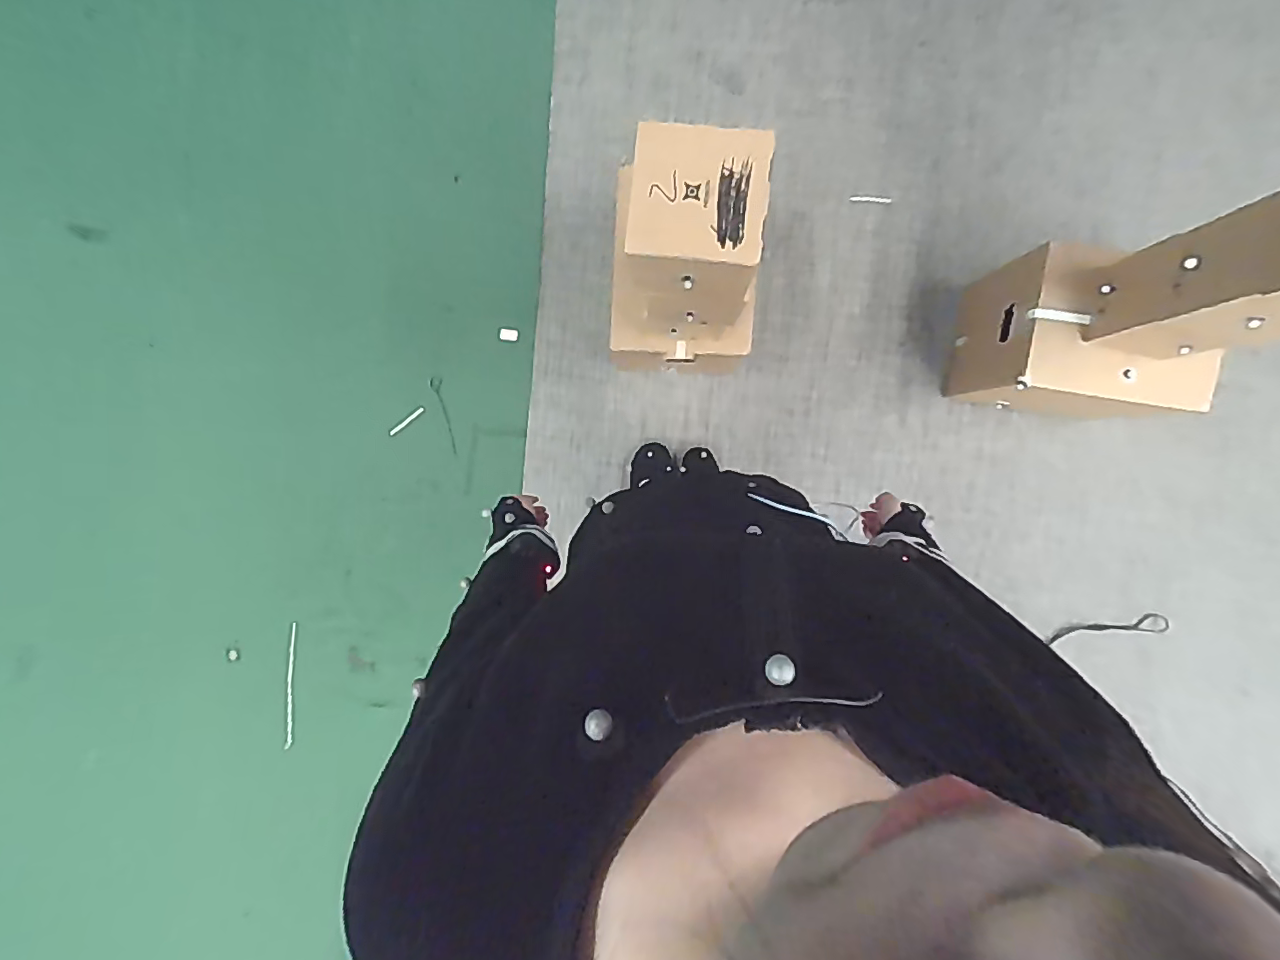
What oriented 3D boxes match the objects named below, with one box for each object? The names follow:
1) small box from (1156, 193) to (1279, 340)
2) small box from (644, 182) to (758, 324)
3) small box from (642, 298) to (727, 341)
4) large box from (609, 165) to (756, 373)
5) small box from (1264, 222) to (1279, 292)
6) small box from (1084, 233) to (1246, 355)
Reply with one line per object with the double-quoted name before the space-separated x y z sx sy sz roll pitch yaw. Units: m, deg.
"small box" 1.033 -0.343 0.894 0.179 0.176 0.168 14 91 2
"small box" 0.098 -0.374 0.923 0.168 0.176 0.179 5 93 2
"small box" 0.097 -0.386 1.087 0.168 0.176 0.179 5 92 2
"large box" 0.099 -0.486 1.325 0.320 0.320 0.408 3 92 2
"small box" 1.027 -0.342 0.730 0.168 0.176 0.179 13 92 1
"small box" 1.035 -0.352 1.058 0.179 0.176 0.168 13 92 1
